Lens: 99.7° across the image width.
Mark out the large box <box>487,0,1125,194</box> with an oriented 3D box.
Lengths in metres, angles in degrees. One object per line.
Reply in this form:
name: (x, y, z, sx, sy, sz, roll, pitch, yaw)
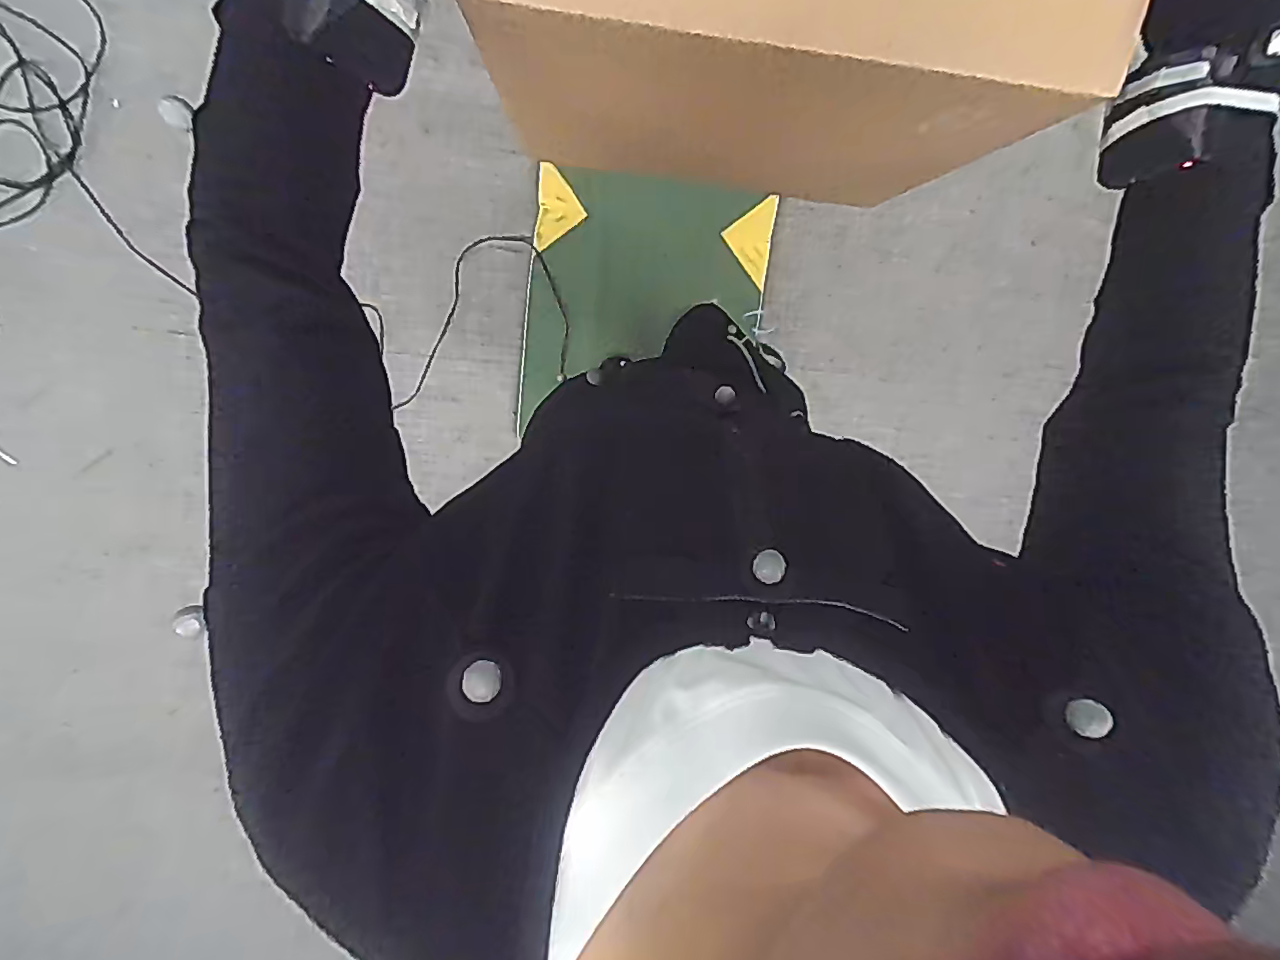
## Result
large box: (0.100, -0.452, 0.433, 0.408, 0.320, 0.320, 4, 106, -6)
